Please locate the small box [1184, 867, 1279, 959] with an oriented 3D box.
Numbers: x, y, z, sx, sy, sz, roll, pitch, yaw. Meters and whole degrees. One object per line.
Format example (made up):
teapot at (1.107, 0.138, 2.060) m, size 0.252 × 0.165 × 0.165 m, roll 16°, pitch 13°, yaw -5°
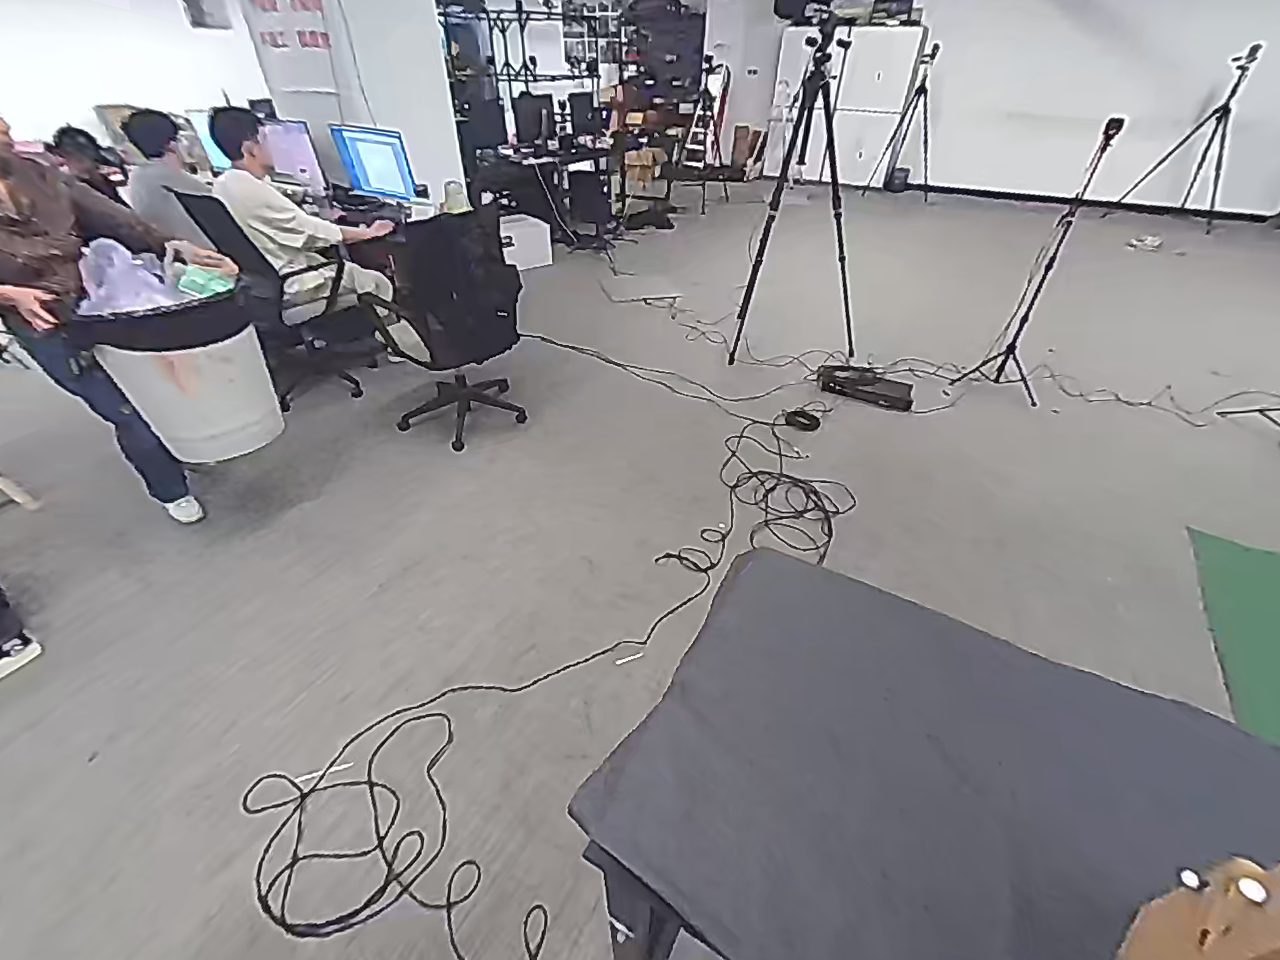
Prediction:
small box at (0.575, 0.390, 0.390) m, size 0.168 × 0.176 × 0.179 m, roll -17°, pitch 41°, yaw -23°
